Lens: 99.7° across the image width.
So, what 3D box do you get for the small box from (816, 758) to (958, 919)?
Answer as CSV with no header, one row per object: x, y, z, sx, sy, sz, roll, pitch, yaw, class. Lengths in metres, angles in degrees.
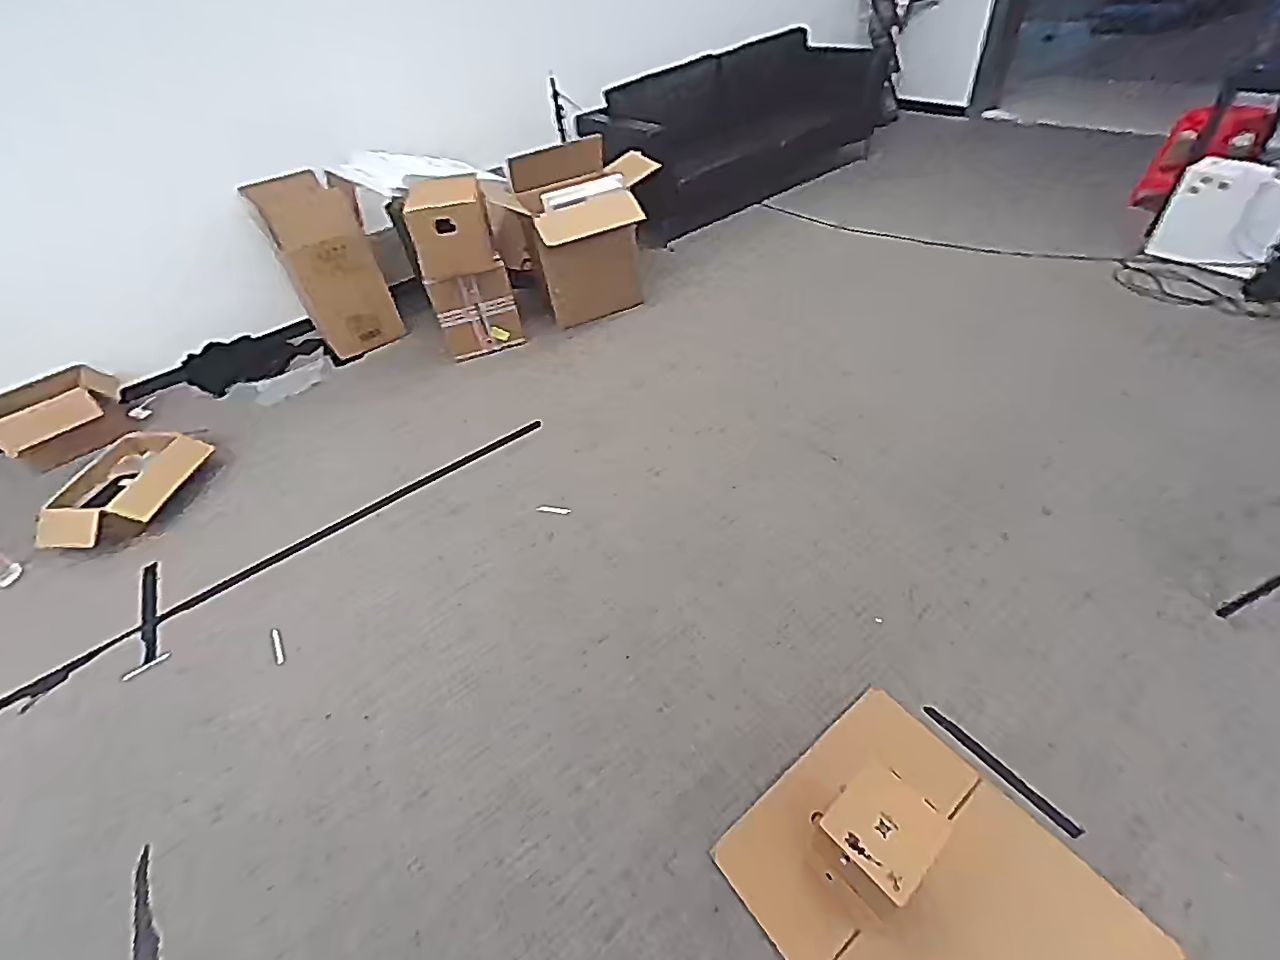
0.450,0.672,1.014,0.179,0.176,0.168,-35,49,-23,small box

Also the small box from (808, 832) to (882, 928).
0.469,0.788,1.130,0.179,0.176,0.168,-34,50,-22,small box
